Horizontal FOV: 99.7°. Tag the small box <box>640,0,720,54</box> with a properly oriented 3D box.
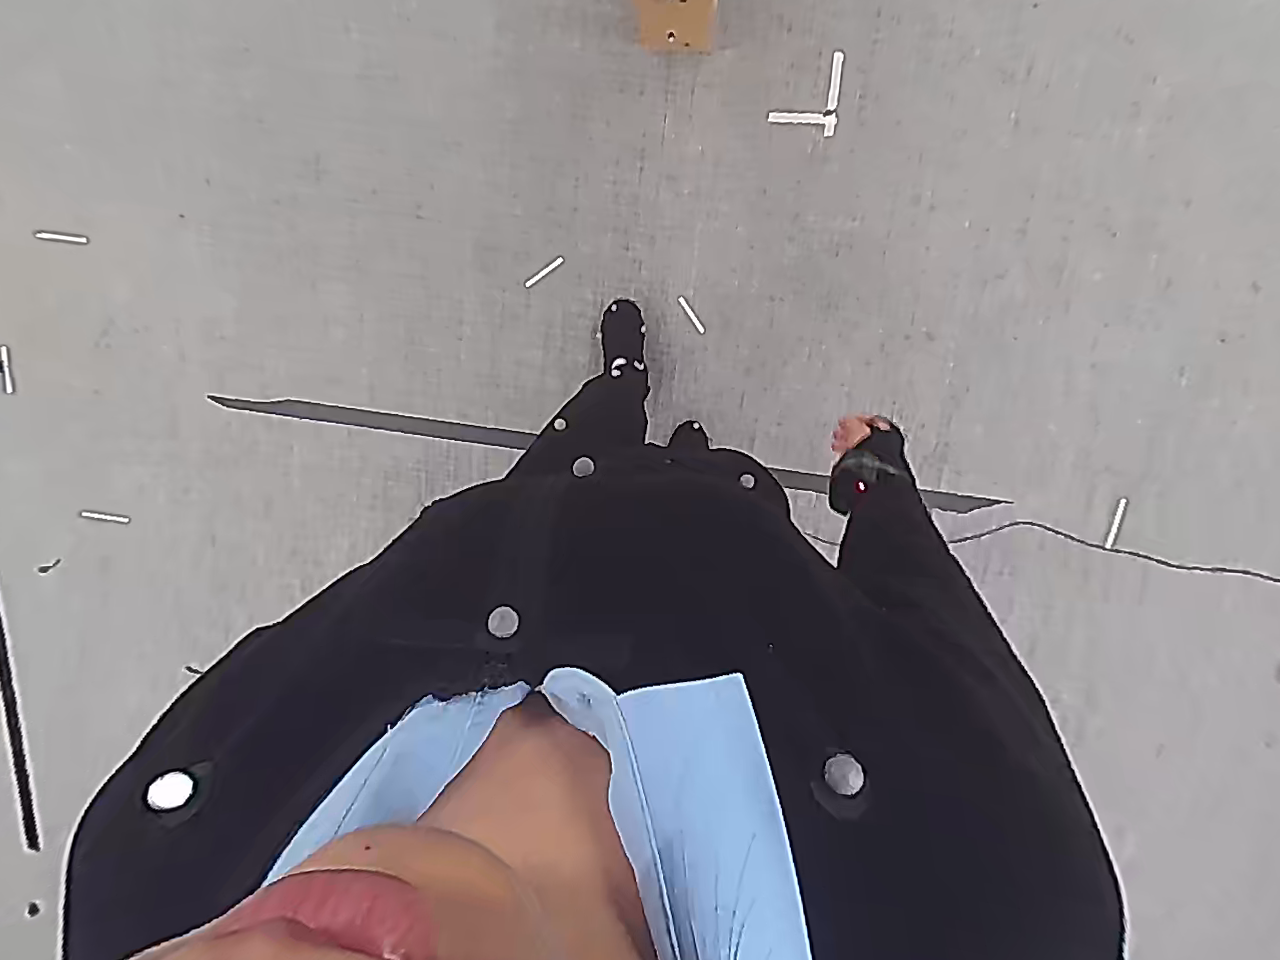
[{"bbox_3d":[0.093,-1.074,1.173,0.168,0.176,0.179,6,102,4],"label":"small box"}]
